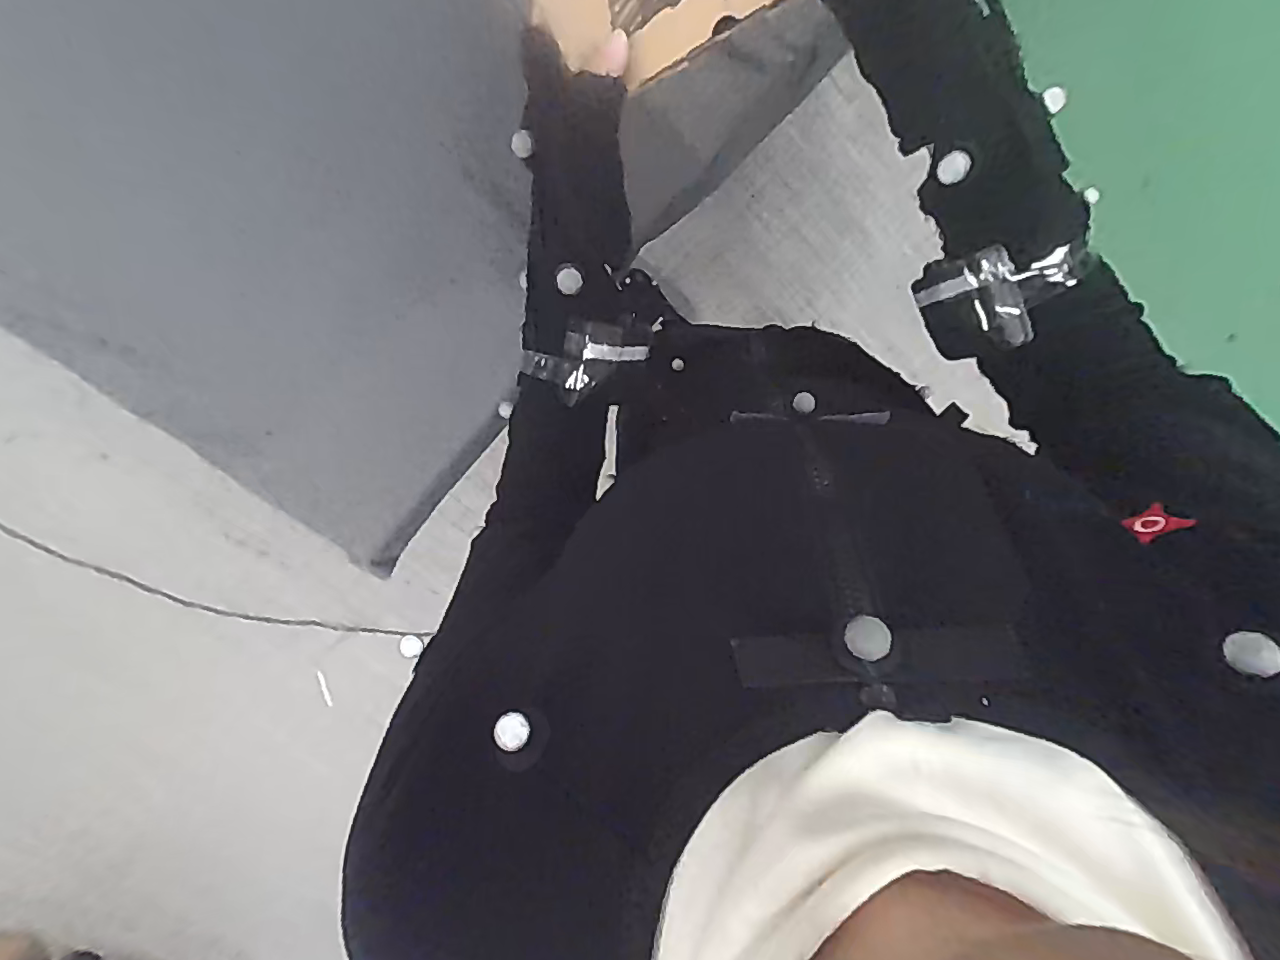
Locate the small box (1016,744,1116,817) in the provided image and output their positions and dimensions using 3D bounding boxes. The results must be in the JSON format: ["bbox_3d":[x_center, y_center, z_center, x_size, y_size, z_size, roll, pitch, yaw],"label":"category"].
[{"bbox_3d":[1.462,1.054,1.865,0.168,0.176,0.179,37,106,-18],"label":"small box"}]

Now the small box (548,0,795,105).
[{"bbox_3d":[0.018,-0.349,0.288,0.168,0.176,0.179,-16,131,20],"label":"small box"}]
